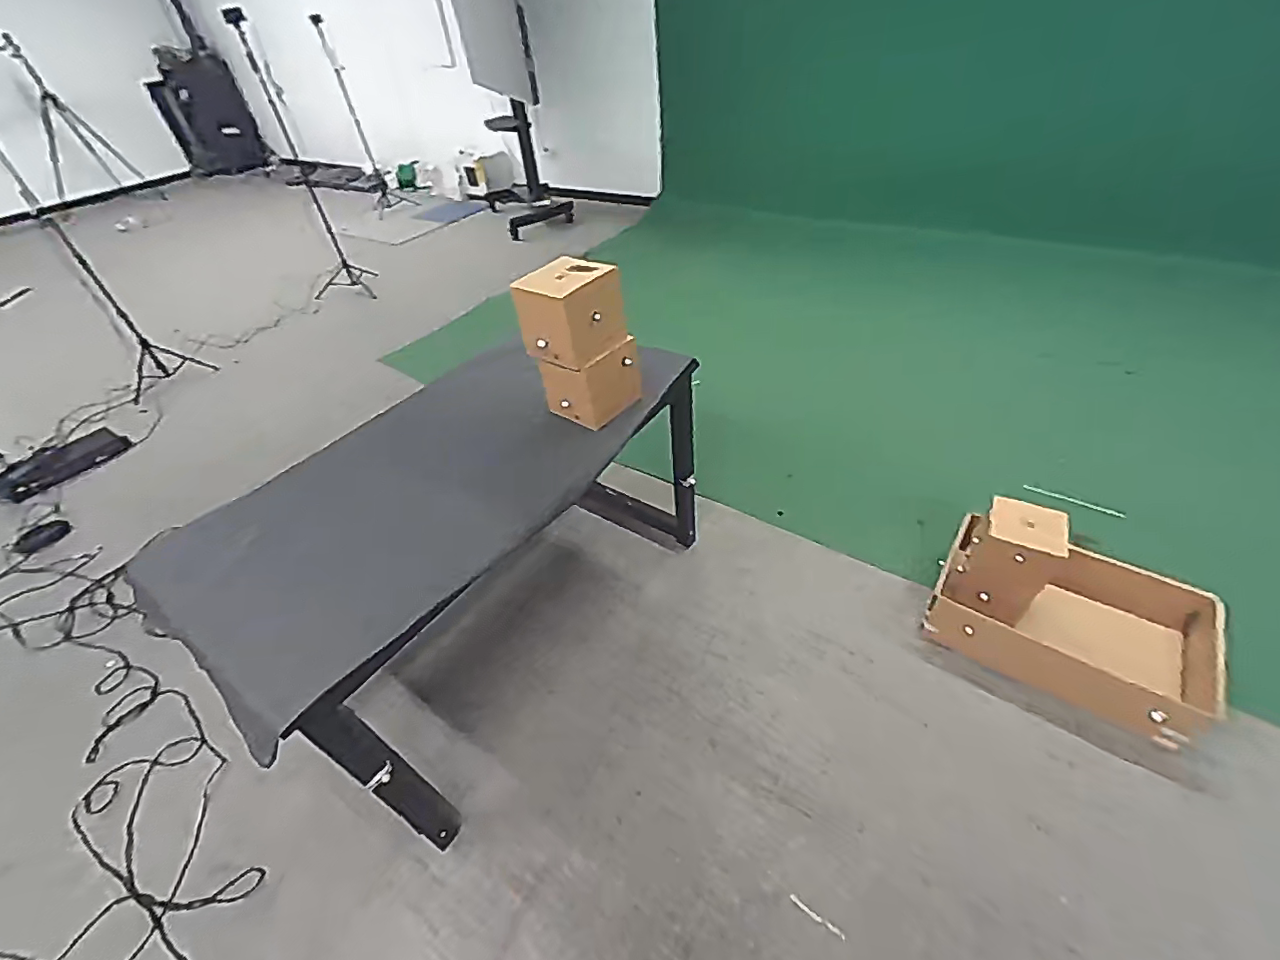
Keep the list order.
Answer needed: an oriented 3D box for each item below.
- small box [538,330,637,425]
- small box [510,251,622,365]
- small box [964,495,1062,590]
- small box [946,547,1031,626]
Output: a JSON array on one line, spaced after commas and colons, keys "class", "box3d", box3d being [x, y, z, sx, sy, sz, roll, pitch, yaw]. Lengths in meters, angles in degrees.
[{"class": "small box", "box3d": [-0.121, -0.263, 1.305, 0.168, 0.176, 0.179, 26, 52, 33]}, {"class": "small box", "box3d": [-0.154, -0.380, 1.194, 0.168, 0.176, 0.179, 25, 52, 31]}, {"class": "small box", "box3d": [1.015, 0.175, 1.479, 0.179, 0.176, 0.168, 19, 49, 21]}, {"class": "small box", "box3d": [1.030, 0.296, 1.588, 0.179, 0.176, 0.168, 25, 52, 30]}]
